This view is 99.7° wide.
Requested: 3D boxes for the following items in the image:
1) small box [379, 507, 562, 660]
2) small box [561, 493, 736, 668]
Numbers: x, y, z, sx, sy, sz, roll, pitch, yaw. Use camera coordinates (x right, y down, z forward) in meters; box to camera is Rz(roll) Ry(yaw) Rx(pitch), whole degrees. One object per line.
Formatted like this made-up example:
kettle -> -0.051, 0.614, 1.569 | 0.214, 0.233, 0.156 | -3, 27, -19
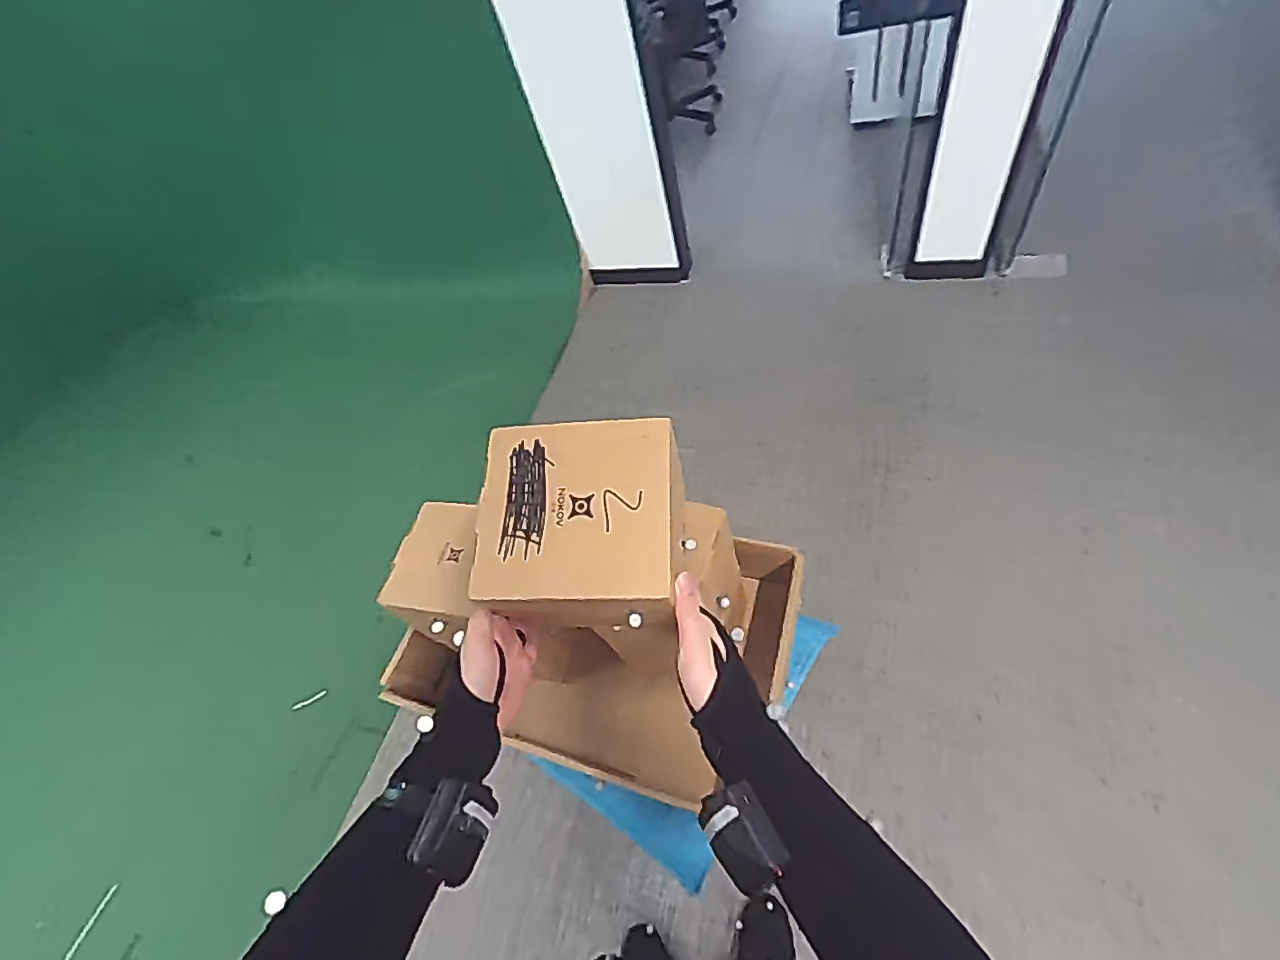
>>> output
small box -> -0.242, 0.158, 0.817 | 0.179, 0.176, 0.168 | 4, 56, 17
small box -> 0.024, 0.143, 0.753 | 0.179, 0.176, 0.168 | 11, 60, 23
